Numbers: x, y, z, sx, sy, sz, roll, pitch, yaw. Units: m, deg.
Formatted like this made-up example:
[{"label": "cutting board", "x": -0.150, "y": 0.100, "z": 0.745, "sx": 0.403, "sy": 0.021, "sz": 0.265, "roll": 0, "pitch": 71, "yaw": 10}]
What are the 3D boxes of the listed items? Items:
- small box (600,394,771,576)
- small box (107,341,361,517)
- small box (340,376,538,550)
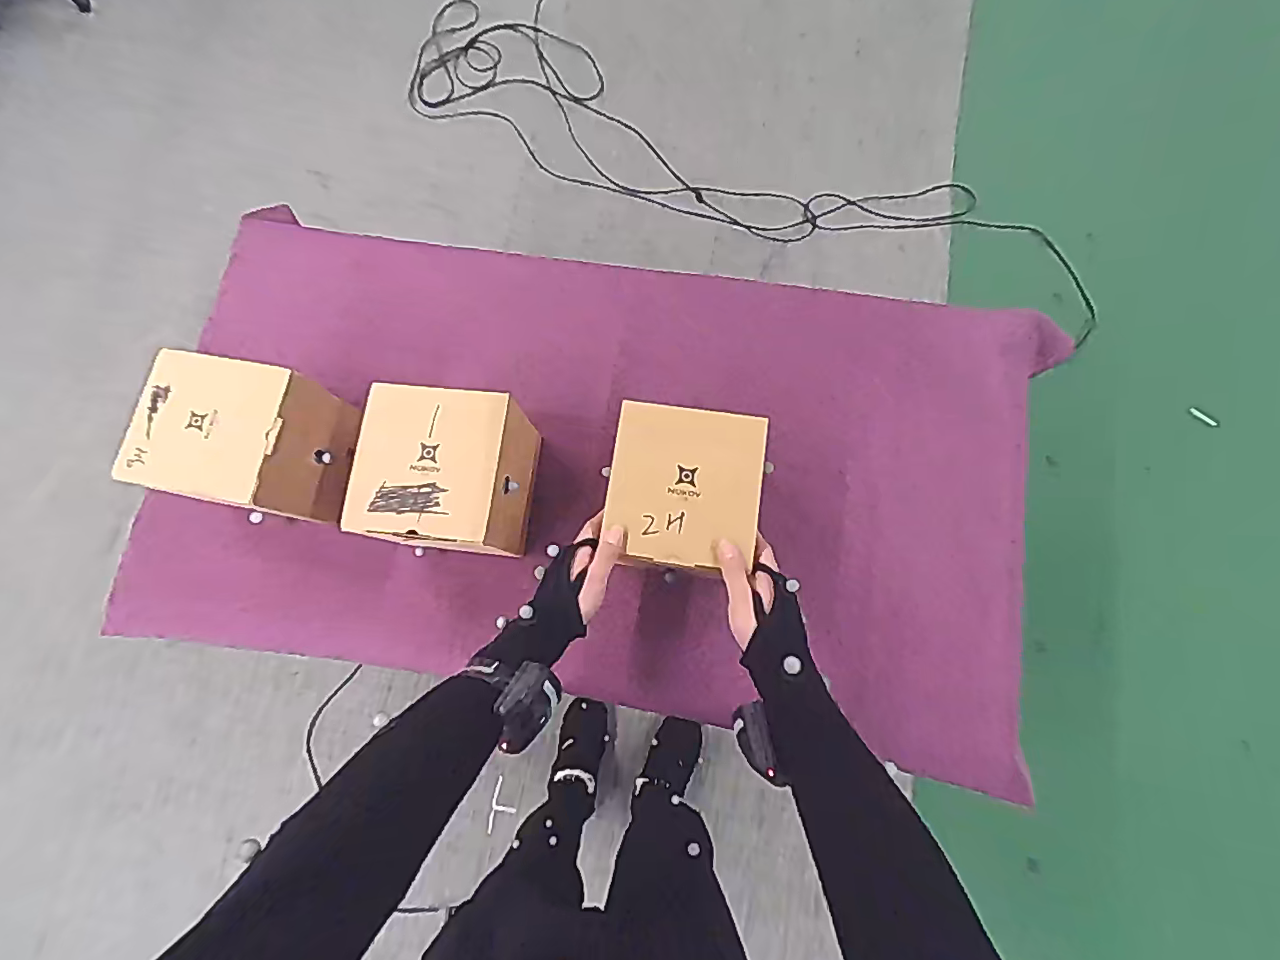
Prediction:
[{"label": "small box", "x": 0.053, "y": 0.016, "z": 0.660, "sx": 0.168, "sy": 0.176, "sz": 0.179, "roll": 8, "pitch": 79, "yaw": 4}, {"label": "small box", "x": -0.496, "y": -0.053, "z": 0.693, "sx": 0.179, "sy": 0.176, "sz": 0.168, "roll": 11, "pitch": 78, "yaw": 3}, {"label": "small box", "x": -0.233, "y": -0.010, "z": 0.675, "sx": 0.168, "sy": 0.176, "sz": 0.179, "roll": 6, "pitch": 77, "yaw": 3}]
